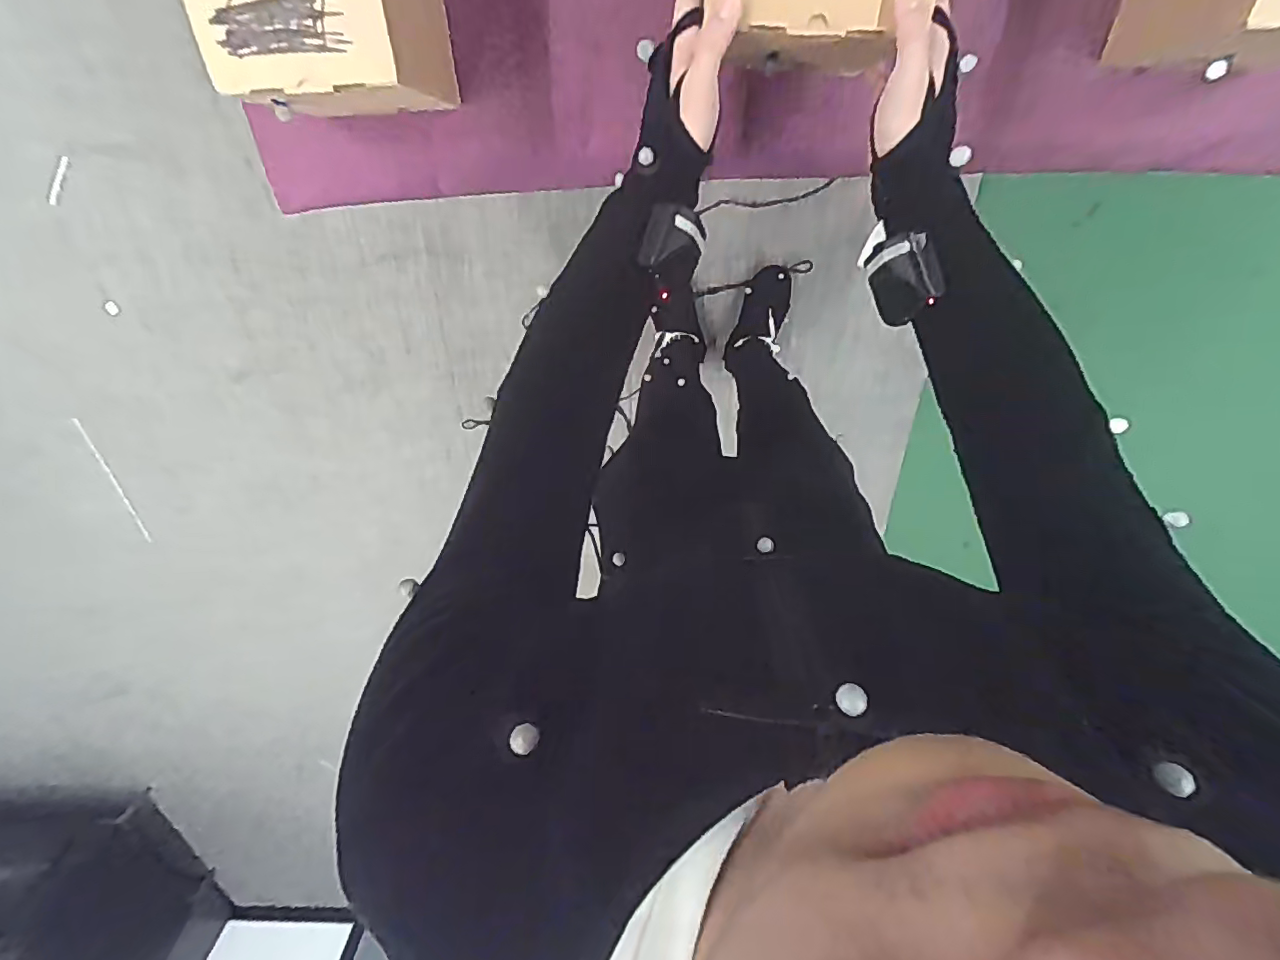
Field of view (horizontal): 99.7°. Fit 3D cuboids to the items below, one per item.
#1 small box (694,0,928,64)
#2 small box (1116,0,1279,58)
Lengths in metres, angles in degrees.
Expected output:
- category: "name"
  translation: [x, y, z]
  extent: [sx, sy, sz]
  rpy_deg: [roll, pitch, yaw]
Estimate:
- category: "small box"
  translation: [0.133, -0.453, 0.425]
  extent: [0.168, 0.176, 0.179]
  rpy_deg: [3, 121, 1]
- category: "small box"
  translation: [0.557, -0.473, 0.443]
  extent: [0.168, 0.176, 0.179]
  rpy_deg: [3, 120, 3]
